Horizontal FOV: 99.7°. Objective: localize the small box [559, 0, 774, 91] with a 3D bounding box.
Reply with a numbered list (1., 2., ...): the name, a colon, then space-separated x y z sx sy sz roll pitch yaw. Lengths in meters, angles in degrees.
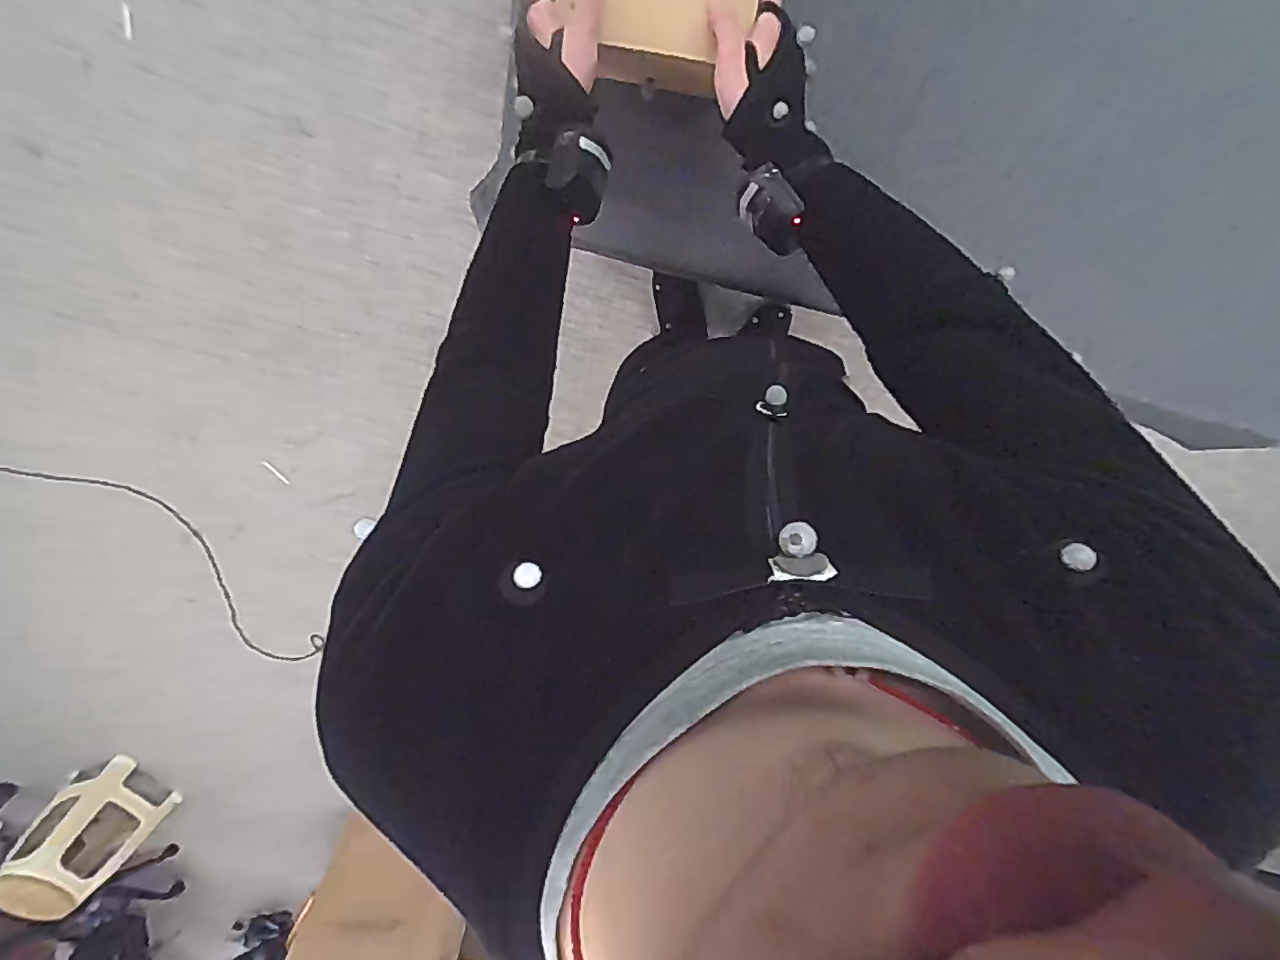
1. small box: 0.027 -0.475 0.493 0.179 0.176 0.168 7 118 -6
